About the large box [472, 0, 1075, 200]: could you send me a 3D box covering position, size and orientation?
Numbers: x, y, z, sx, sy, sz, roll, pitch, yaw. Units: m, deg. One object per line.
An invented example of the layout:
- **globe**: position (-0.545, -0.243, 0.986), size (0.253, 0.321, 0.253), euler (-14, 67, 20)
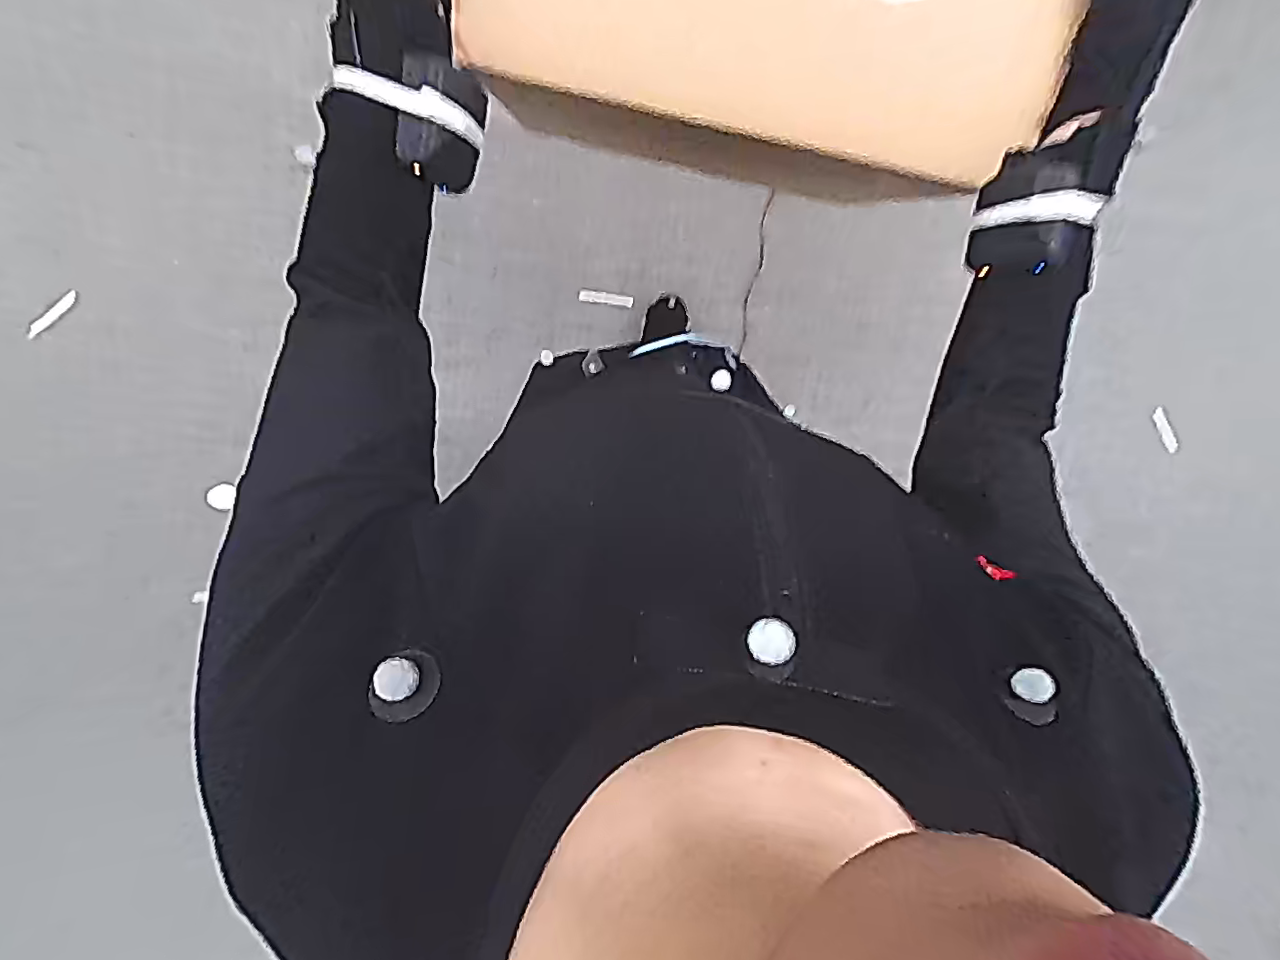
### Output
- **large box**: position (0.095, -0.449, 0.457), size (0.408, 0.320, 0.320), euler (8, 116, -8)
